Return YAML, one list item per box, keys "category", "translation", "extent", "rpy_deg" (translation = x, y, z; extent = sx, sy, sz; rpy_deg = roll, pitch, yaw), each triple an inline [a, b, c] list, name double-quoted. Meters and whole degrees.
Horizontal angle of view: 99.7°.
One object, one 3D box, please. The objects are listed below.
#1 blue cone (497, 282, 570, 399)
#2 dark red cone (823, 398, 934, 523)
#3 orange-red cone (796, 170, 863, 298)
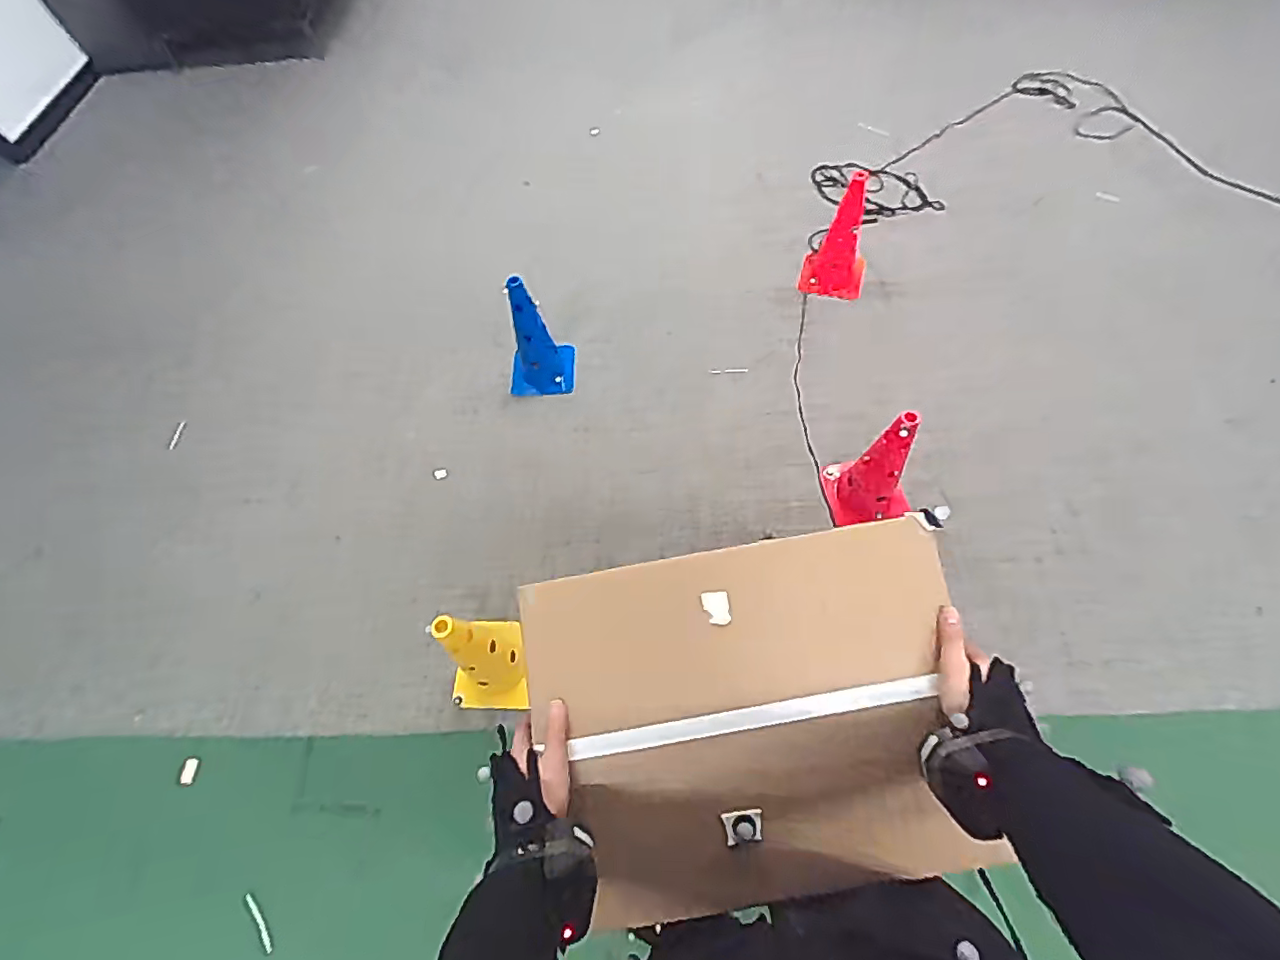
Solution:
- category: "blue cone"
  translation: [-0.334, -0.423, 1.592]
  extent: [0.192, 0.380, 0.193]
  rpy_deg: [-3, 60, 5]
- category: "dark red cone"
  translation: [0.577, -0.062, 1.247]
  extent: [0.202, 0.394, 0.201]
  rpy_deg: [-10, 63, 0]
- category: "orange-red cone"
  translation: [0.628, -0.779, 1.674]
  extent: [0.199, 0.360, 0.198]
  rpy_deg: [15, 64, 12]
